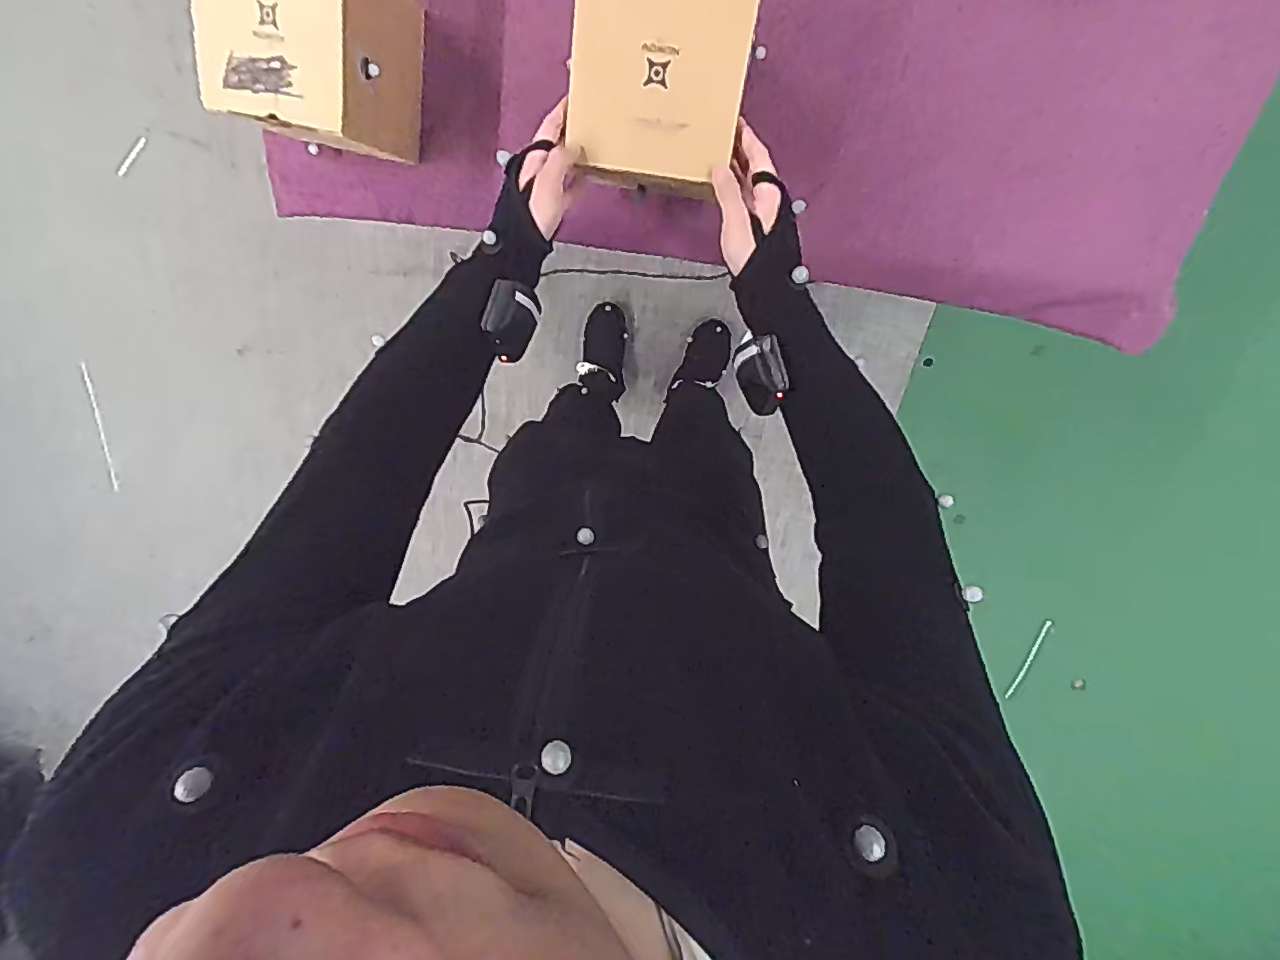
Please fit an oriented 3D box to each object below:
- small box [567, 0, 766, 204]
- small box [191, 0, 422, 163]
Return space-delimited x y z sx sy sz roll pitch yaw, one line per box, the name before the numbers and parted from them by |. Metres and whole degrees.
small box | 0.028 -0.408 0.574 0.168 0.176 0.179 10 113 3
small box | -0.371 -0.490 0.628 0.168 0.176 0.179 13 111 2
